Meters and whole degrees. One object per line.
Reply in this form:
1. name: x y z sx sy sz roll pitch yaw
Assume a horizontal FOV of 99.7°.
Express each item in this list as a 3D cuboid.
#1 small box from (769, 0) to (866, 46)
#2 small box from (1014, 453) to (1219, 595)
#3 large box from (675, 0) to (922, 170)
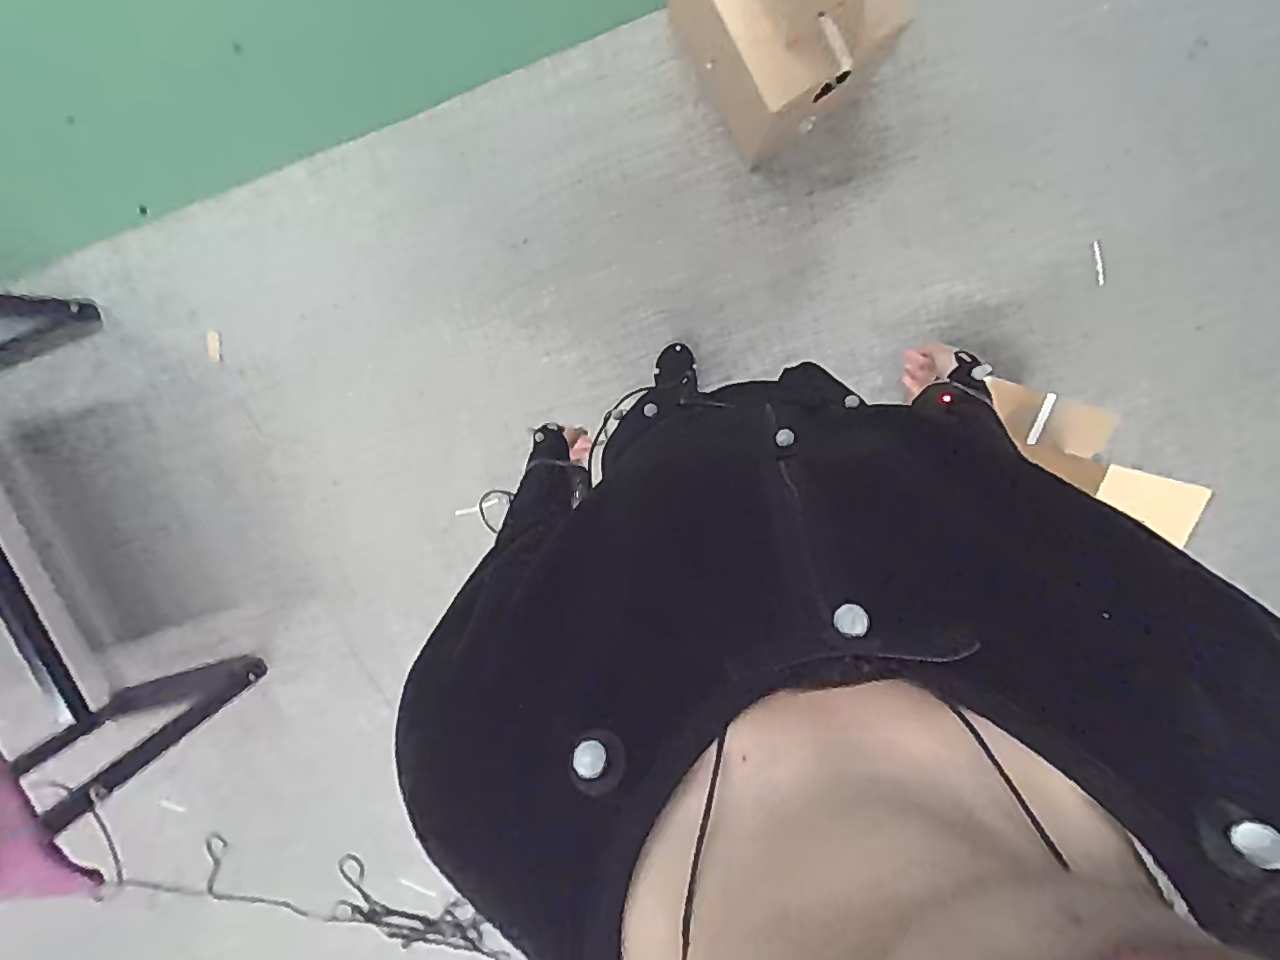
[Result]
1. small box: 0.302 -0.898 0.907 0.168 0.176 0.179 -27 100 10
2. small box: 0.785 0.064 0.915 0.168 0.176 0.179 15 104 0
3. large box: 0.302 -0.971 1.142 0.320 0.320 0.408 -31 97 8
